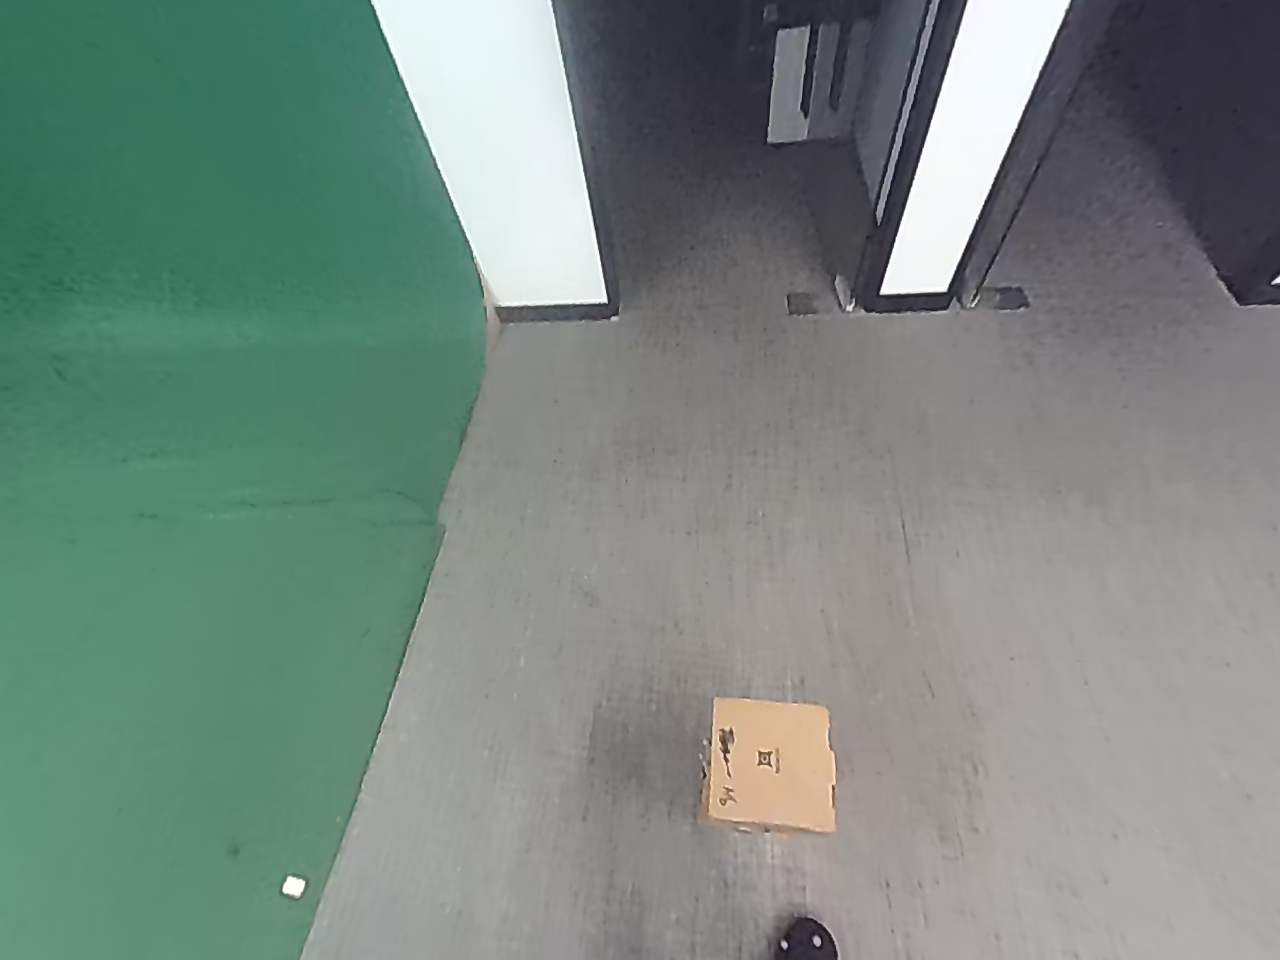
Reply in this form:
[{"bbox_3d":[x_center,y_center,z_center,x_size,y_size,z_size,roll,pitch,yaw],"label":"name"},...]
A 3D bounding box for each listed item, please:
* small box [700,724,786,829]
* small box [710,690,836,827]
[{"bbox_3d":[0.223,0.629,1.142,0.179,0.176,0.168,4,57,10],"label":"small box"},{"bbox_3d":[0.206,0.450,0.870,0.179,0.176,0.168,2,57,10],"label":"small box"}]
